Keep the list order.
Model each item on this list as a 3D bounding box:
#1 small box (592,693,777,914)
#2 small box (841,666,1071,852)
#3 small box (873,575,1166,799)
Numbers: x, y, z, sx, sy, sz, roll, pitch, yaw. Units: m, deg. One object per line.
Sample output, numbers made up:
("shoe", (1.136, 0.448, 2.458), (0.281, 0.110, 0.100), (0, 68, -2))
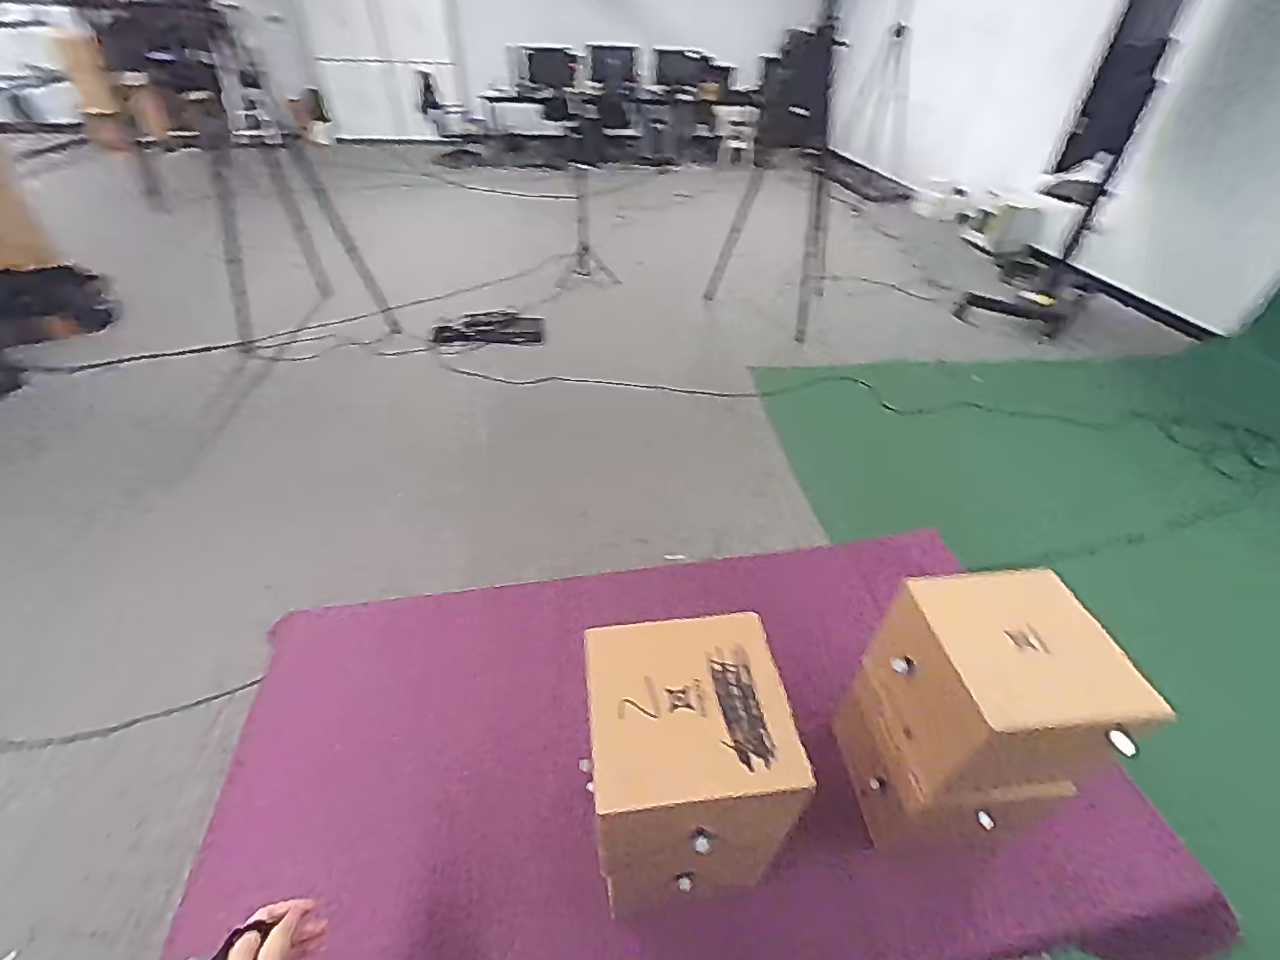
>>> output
("small box", (0.040, 0.381, 0.638), (0.179, 0.176, 0.168), (-5, 41, -8))
("small box", (0.373, 0.351, 0.685), (0.179, 0.176, 0.168), (-1, 41, -3))
("small box", (0.375, 0.224, 0.584), (0.179, 0.176, 0.168), (-2, 41, -5))
